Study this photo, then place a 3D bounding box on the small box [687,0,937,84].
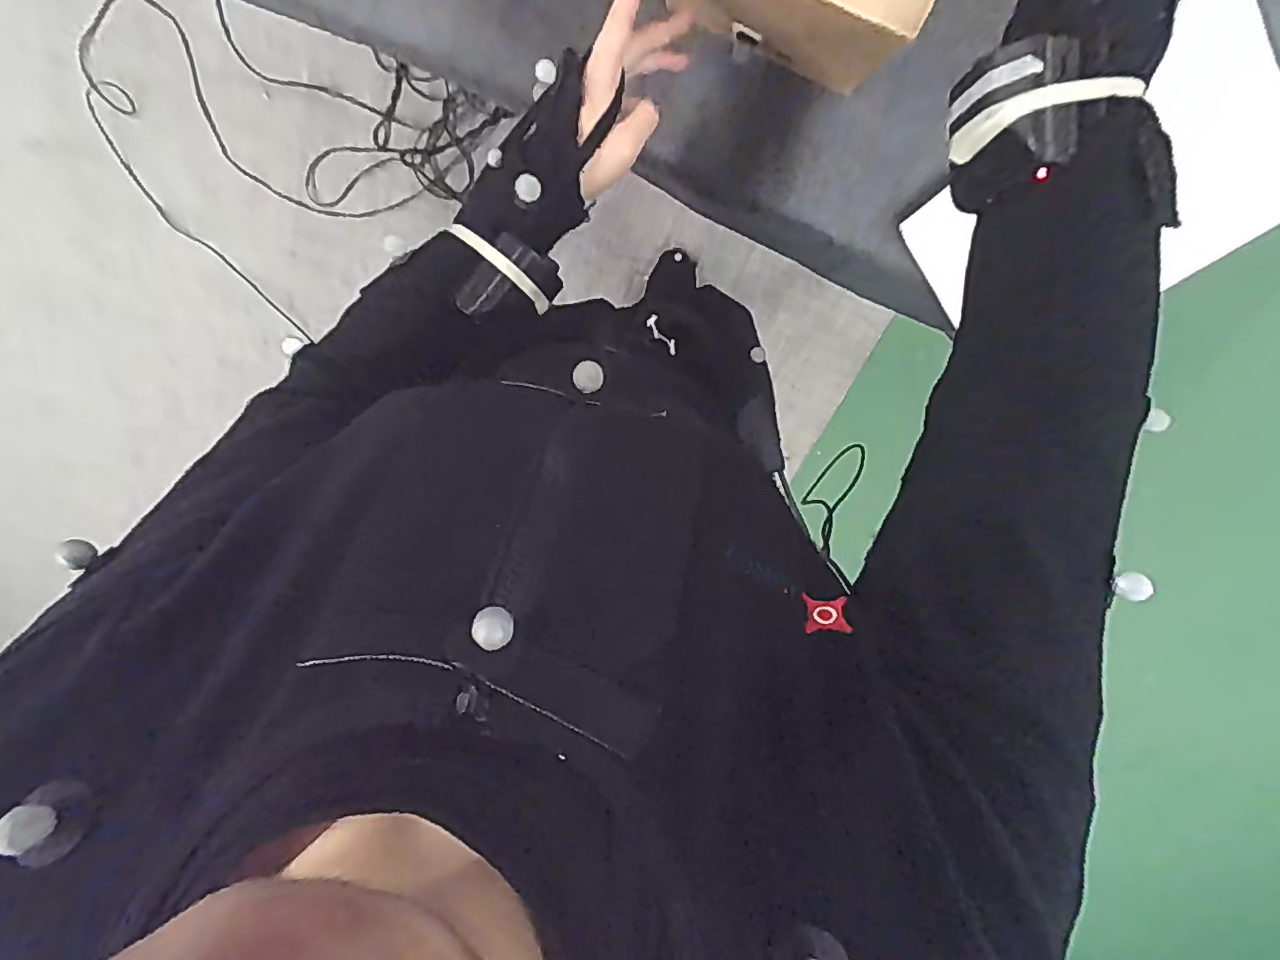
[{"bbox_3d":[0.124,-0.389,0.335,0.168,0.176,0.179,22,118,-3],"label":"small box"}]
